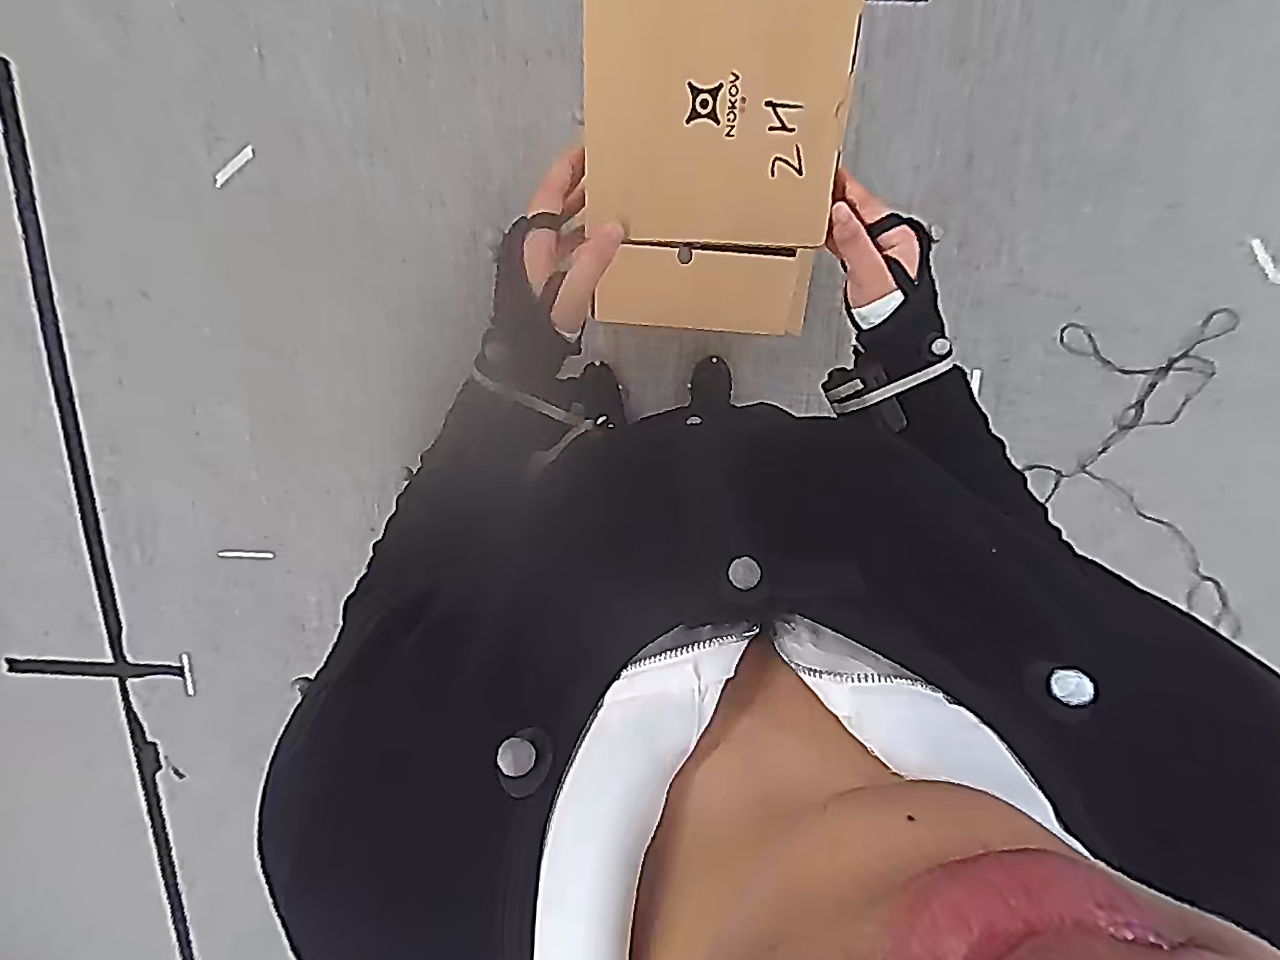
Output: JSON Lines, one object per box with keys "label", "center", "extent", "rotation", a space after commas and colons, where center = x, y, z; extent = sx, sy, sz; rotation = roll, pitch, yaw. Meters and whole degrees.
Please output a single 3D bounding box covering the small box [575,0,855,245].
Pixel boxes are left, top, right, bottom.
{"label": "small box", "center": [0.045, -0.280, 0.431], "extent": [0.179, 0.176, 0.168], "rotation": [1, 115, -2]}
